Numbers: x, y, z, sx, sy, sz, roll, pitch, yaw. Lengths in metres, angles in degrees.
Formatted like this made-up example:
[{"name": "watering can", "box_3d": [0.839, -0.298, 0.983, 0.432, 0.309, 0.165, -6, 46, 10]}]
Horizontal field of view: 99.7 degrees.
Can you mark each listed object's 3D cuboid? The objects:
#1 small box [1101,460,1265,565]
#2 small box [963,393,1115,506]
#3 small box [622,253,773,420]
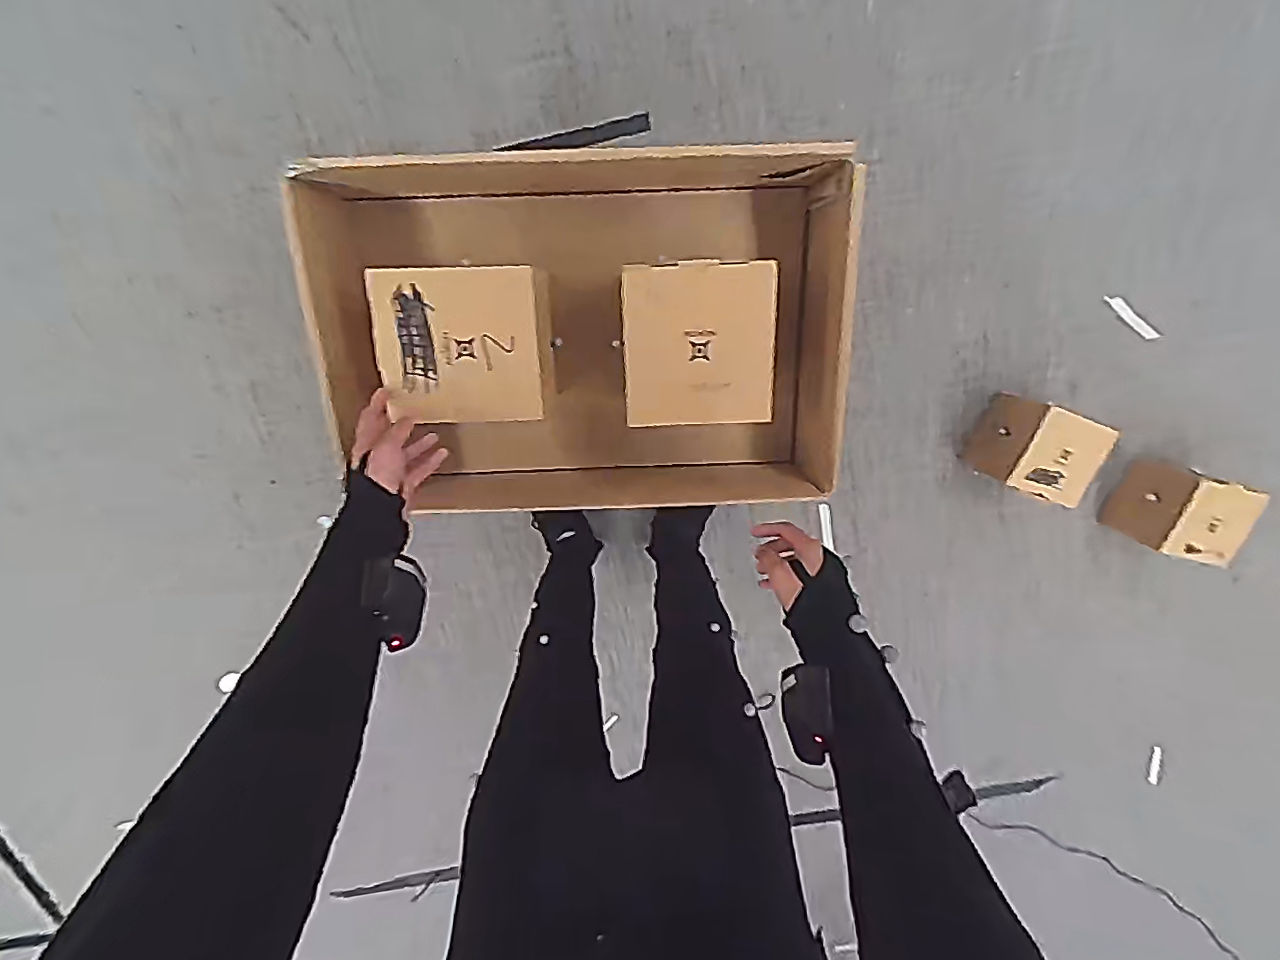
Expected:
[{"name": "small box", "box_3d": [1.210, 0.066, 1.223, 0.168, 0.176, 0.179, 12, 106, -5]}, {"name": "small box", "box_3d": [0.843, -0.072, 1.167, 0.168, 0.176, 0.179, 19, 106, -8]}, {"name": "small box", "box_3d": [0.062, -0.176, 0.672, 0.168, 0.176, 0.179, -2, 107, 1]}]
